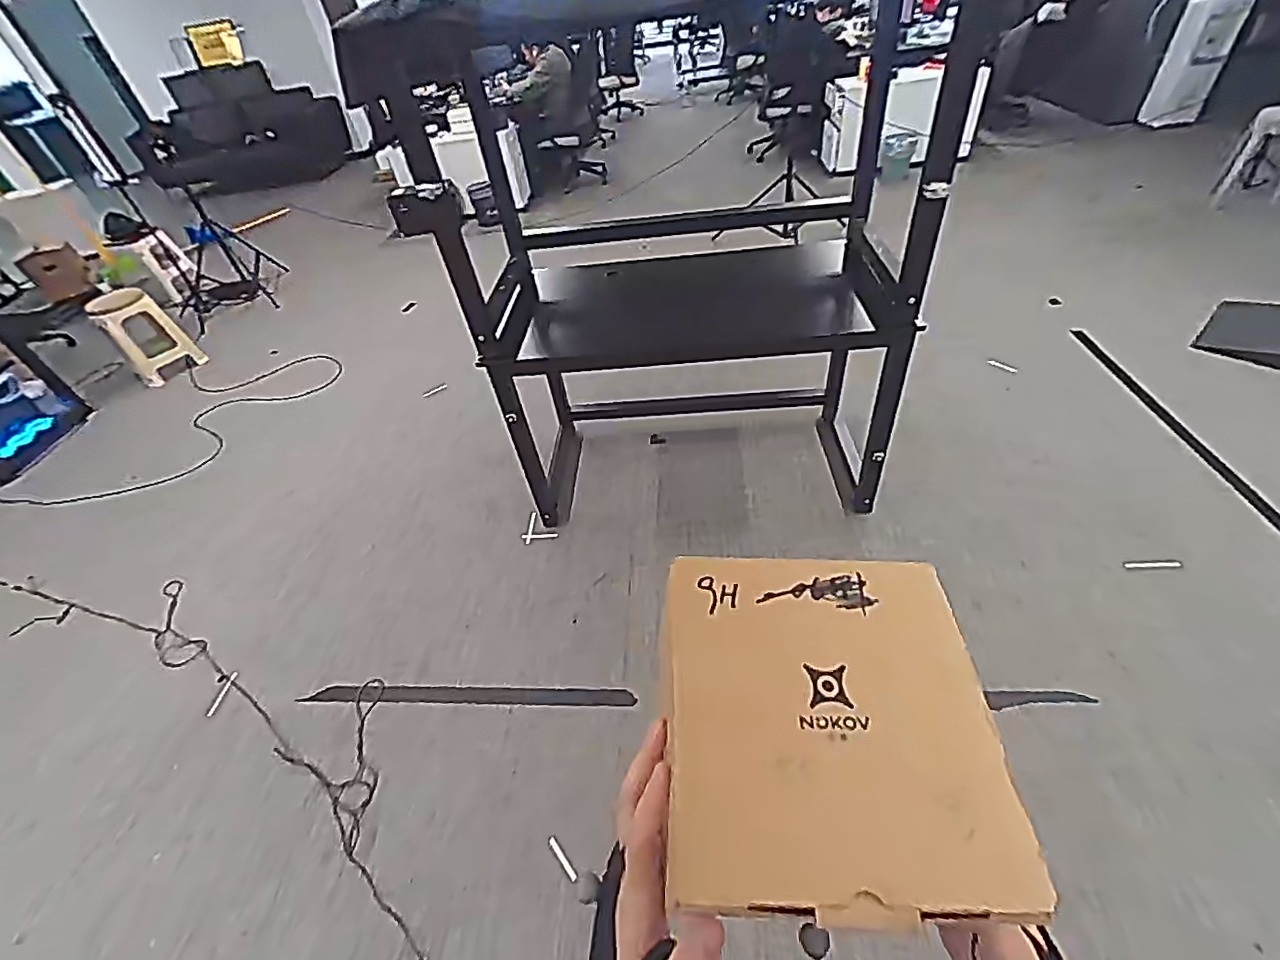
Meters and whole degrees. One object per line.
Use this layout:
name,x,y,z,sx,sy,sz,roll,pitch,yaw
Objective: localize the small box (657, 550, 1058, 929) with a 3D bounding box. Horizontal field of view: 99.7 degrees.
small box,0.098,0.163,0.342,0.168,0.176,0.179,2,52,0
